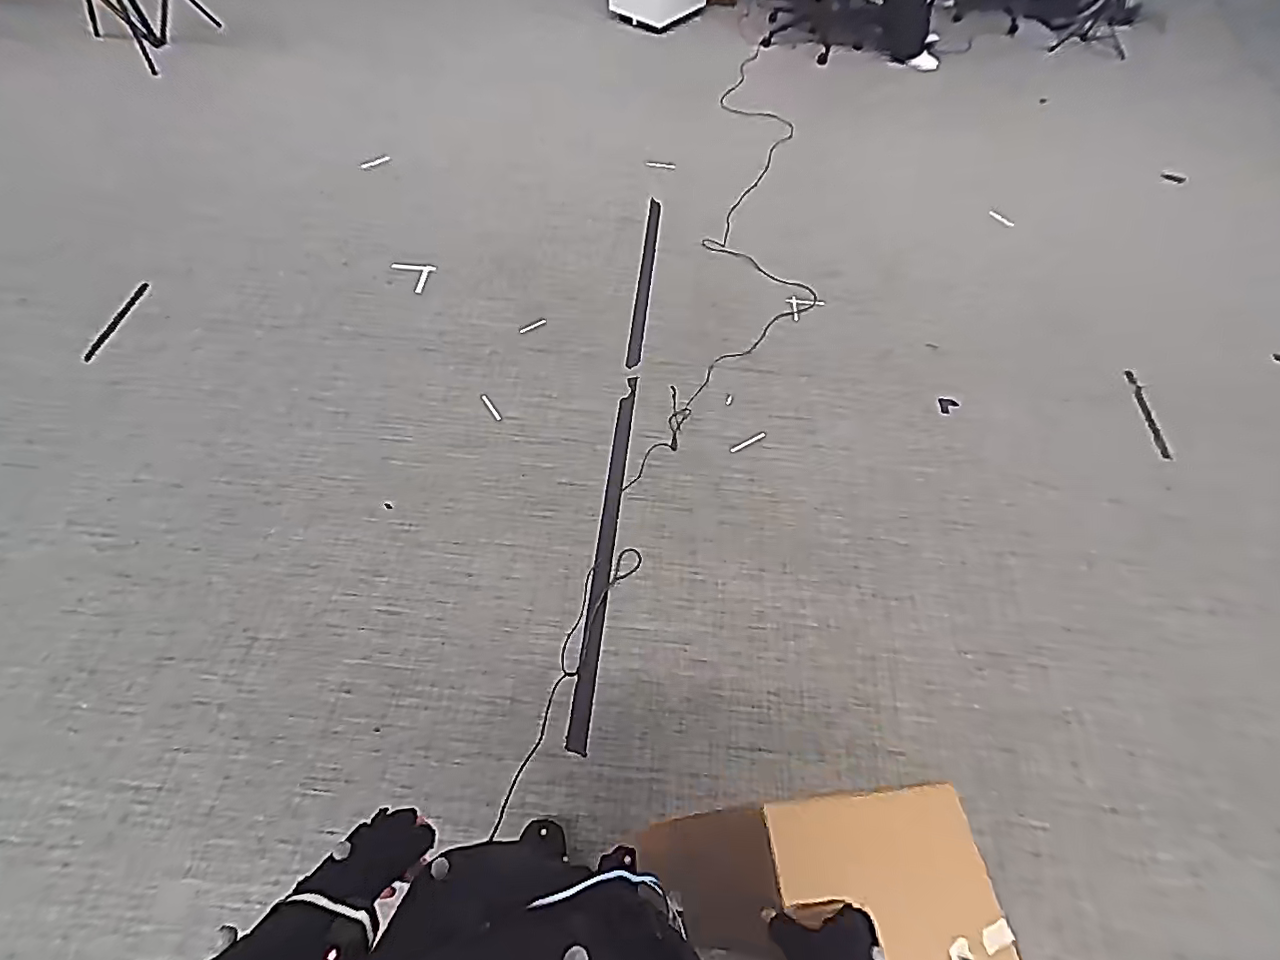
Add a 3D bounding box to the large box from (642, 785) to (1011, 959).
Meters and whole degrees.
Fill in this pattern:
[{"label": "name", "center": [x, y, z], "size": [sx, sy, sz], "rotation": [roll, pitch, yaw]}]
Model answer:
[{"label": "large box", "center": [0.229, 0.634, 0.749], "size": [0.320, 0.408, 0.320], "rotation": [9, 53, -20]}]
